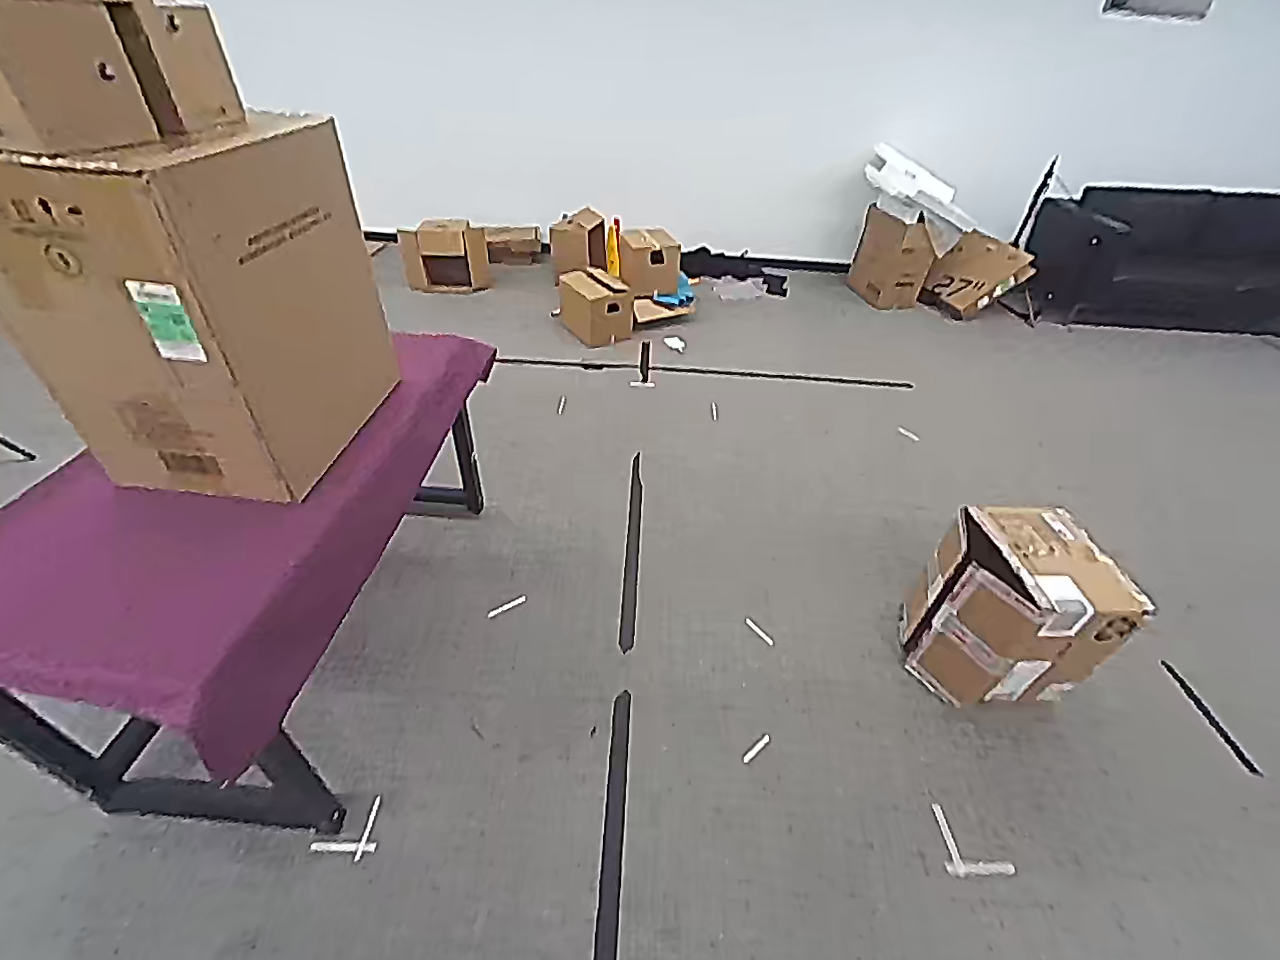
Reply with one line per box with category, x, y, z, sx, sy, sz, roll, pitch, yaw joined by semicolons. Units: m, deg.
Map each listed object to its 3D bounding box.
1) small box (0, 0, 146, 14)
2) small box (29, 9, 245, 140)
small box;-0.842;-0.747;0.733;0.168;0.176;0.179;3;39;-1
small box;-0.841;-0.695;0.929;0.179;0.176;0.168;4;41;1
